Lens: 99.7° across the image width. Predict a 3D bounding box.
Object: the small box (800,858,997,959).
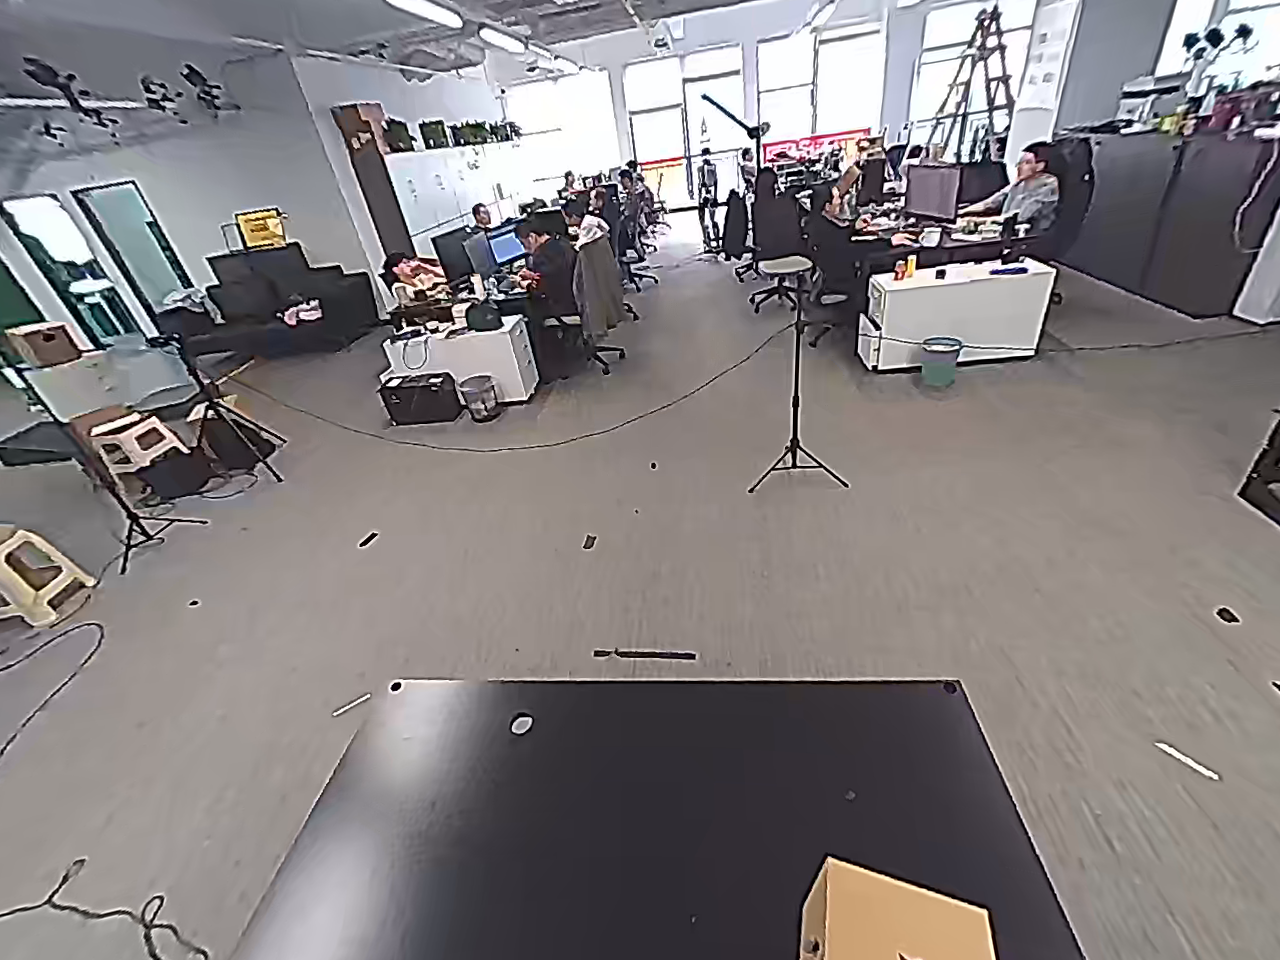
[{"bbox_3d":[0.262,0.551,0.569,0.168,0.176,0.179,10,38,15],"label":"small box"}]
